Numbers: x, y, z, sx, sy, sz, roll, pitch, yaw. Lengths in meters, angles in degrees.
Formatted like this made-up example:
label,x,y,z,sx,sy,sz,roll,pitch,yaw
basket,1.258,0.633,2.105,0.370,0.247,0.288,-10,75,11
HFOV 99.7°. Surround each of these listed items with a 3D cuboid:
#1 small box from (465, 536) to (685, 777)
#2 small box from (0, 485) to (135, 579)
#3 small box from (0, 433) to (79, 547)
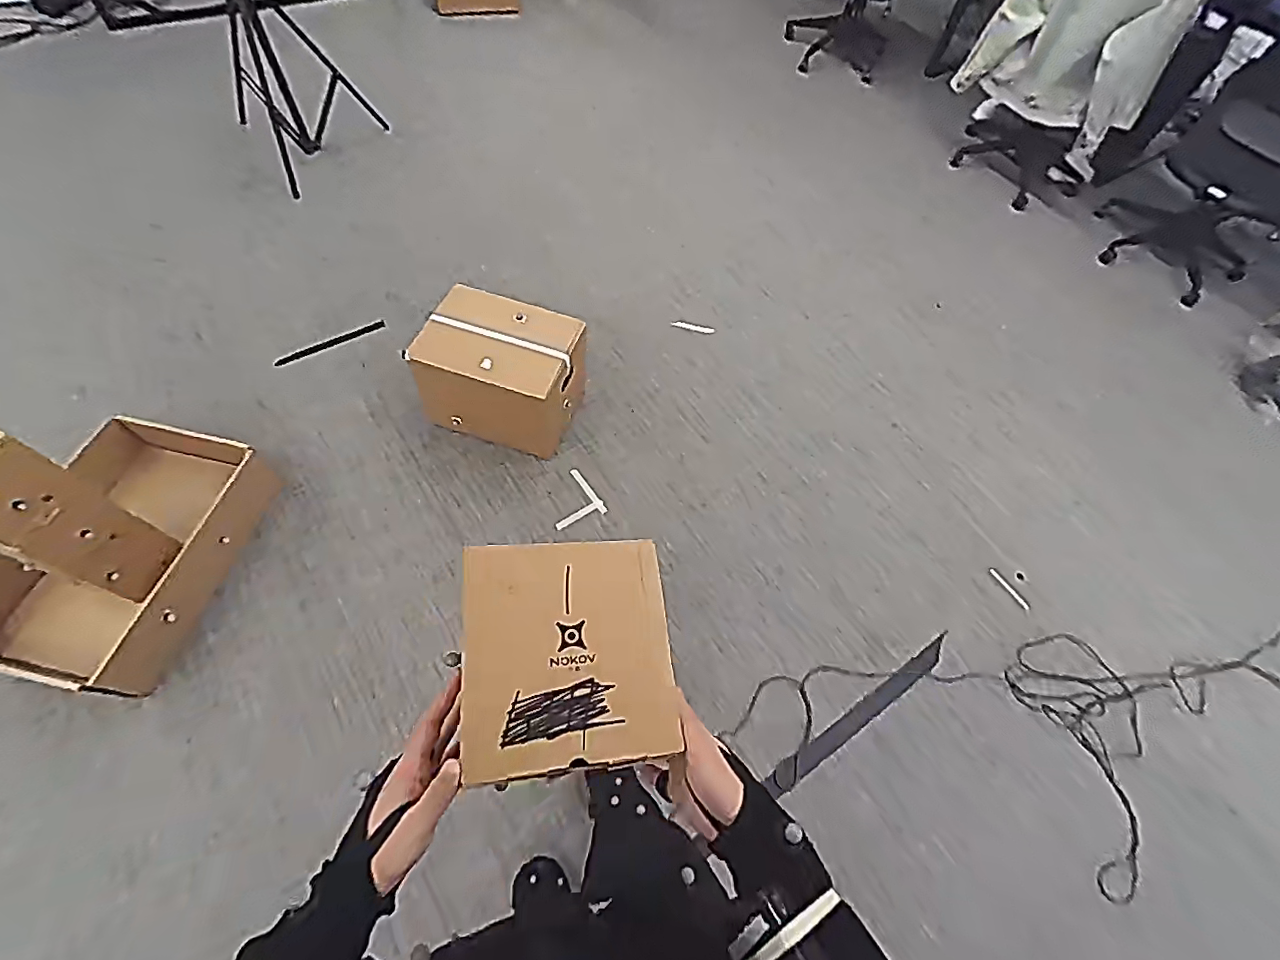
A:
label,x,y,z,sx,sy,sz,roll,pitch,yaw
small box,-0.072,0.162,0.500,0.168,0.176,0.179,1,64,-17
small box,-1.259,0.096,1.154,0.179,0.176,0.168,17,59,4
small box,-1.252,0.006,1.017,0.179,0.176,0.168,16,59,4
